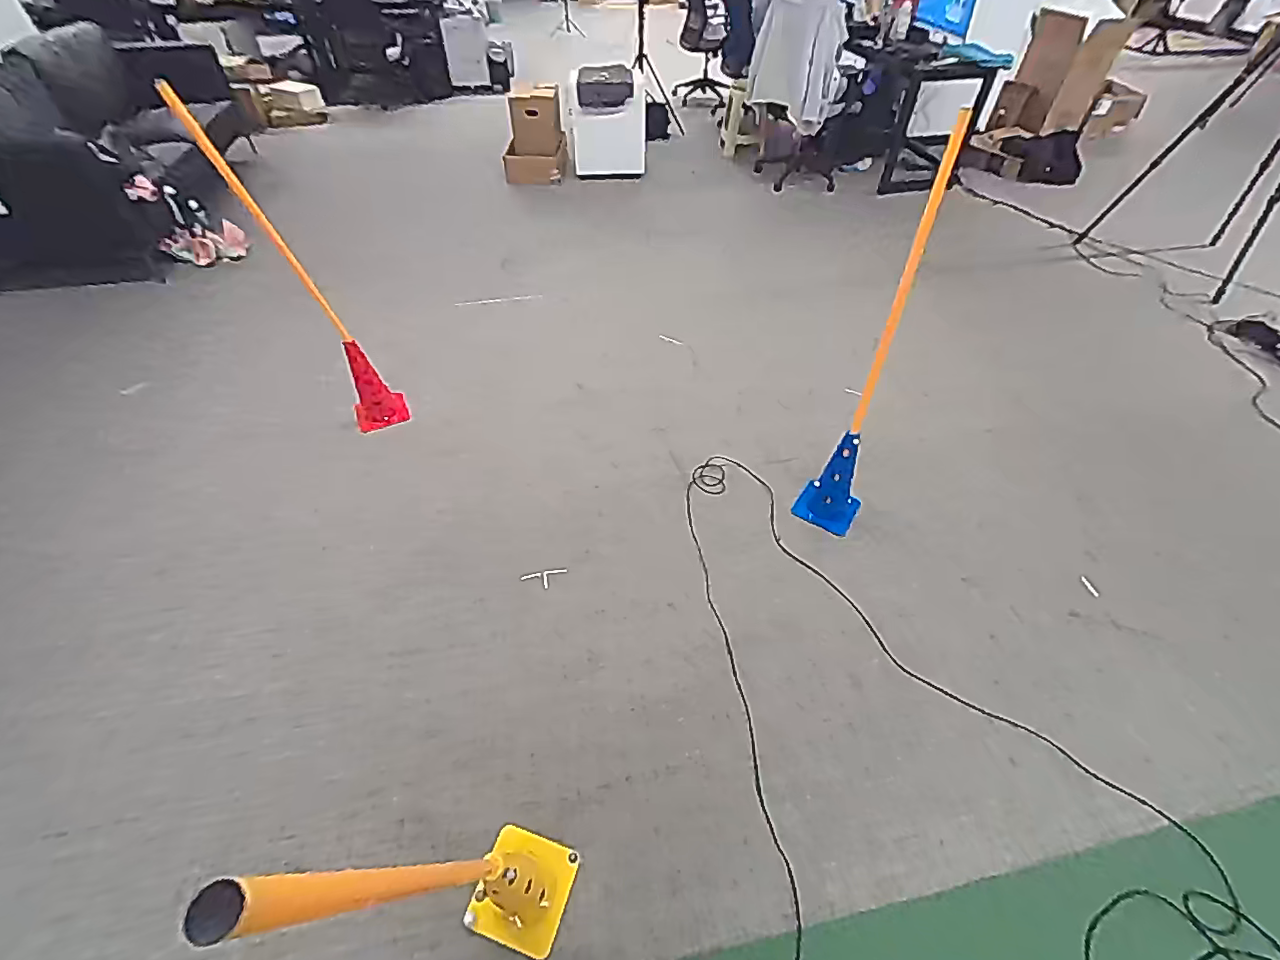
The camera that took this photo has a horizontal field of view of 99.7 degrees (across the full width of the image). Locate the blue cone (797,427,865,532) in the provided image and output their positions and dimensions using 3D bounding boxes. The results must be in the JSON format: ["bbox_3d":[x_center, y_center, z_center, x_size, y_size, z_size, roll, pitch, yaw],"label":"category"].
[{"bbox_3d":[0.670,-0.025,1.810,0.192,0.380,0.193,26,50,22],"label":"blue cone"}]
